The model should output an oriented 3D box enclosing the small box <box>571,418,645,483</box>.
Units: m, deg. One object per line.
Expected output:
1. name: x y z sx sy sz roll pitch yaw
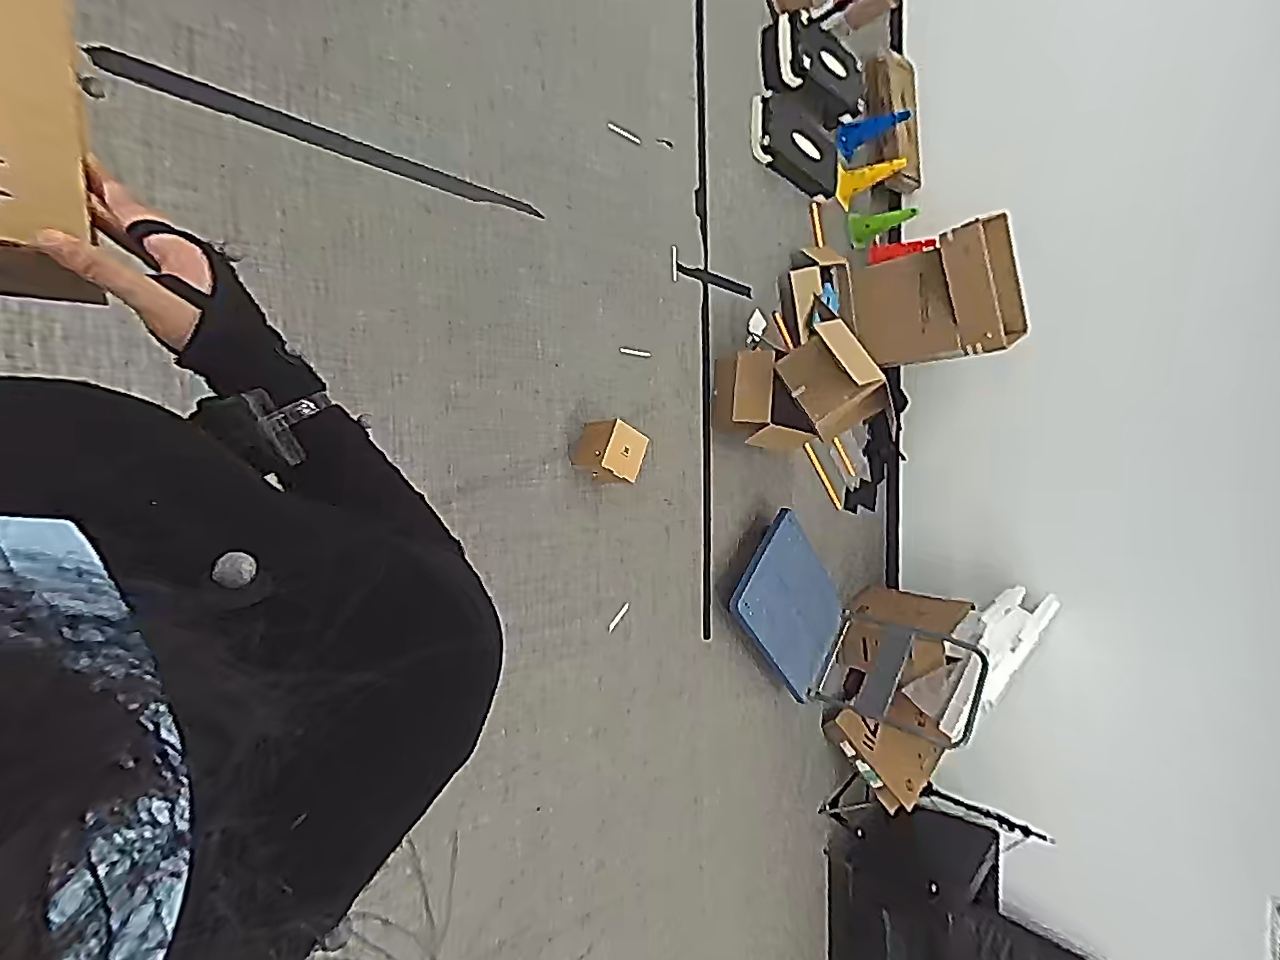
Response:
1. small box: -0.117 -0.102 1.897 0.168 0.176 0.179 31 71 -40
